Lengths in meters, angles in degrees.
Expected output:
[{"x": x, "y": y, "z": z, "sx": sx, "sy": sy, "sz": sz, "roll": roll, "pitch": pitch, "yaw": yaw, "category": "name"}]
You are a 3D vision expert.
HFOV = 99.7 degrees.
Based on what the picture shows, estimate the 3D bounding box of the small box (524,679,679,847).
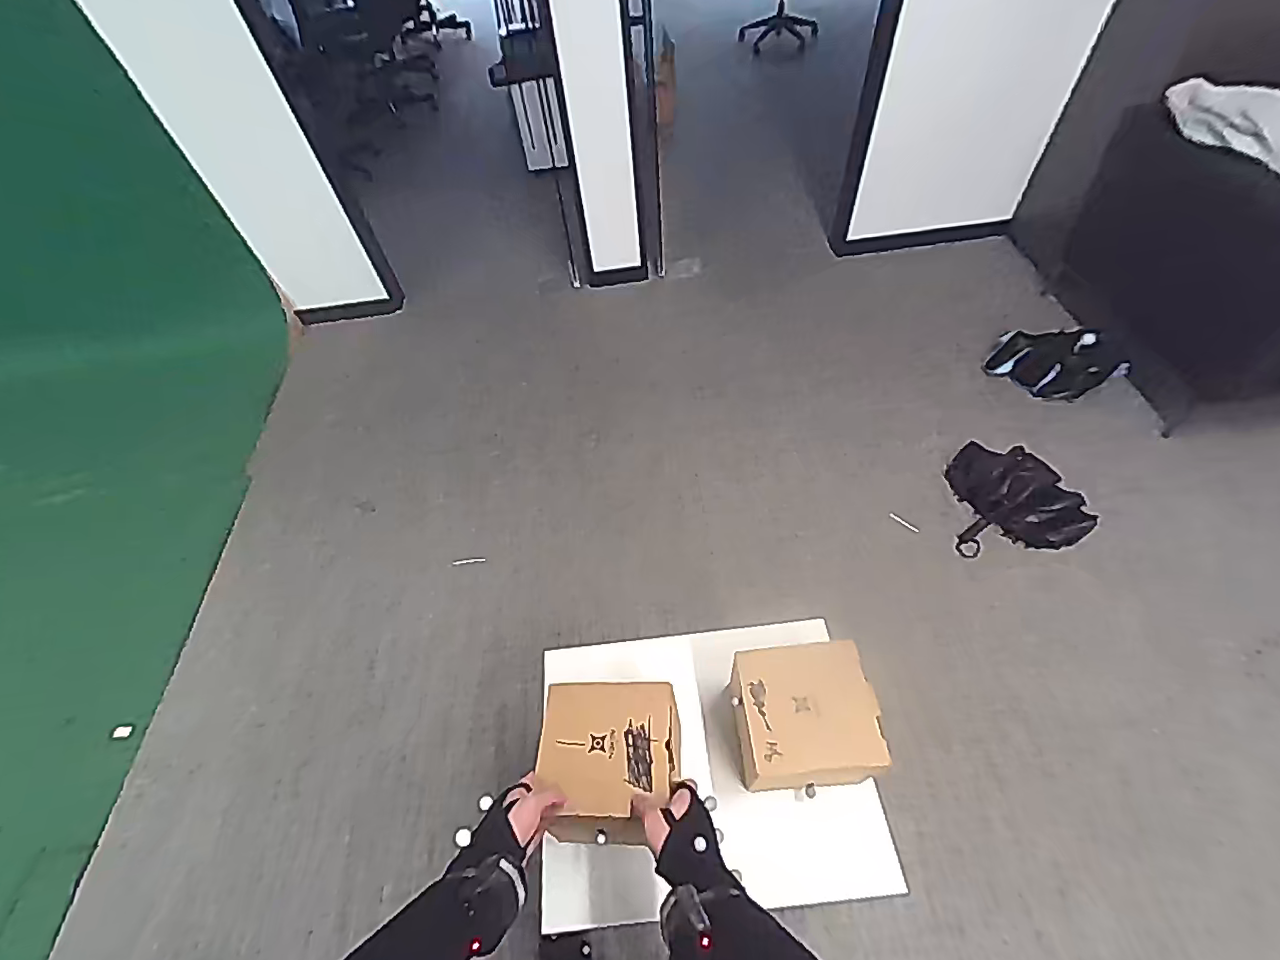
[{"x": -0.038, "y": 0.388, "z": 0.739, "sx": 0.179, "sy": 0.176, "sz": 0.168, "roll": -2, "pitch": 46, "yaw": 7, "category": "small box"}]

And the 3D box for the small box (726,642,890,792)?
[{"x": 0.230, "y": 0.350, "z": 0.794, "sx": 0.179, "sy": 0.176, "sz": 0.168, "roll": -5, "pitch": 53, "yaw": 0, "category": "small box"}]
